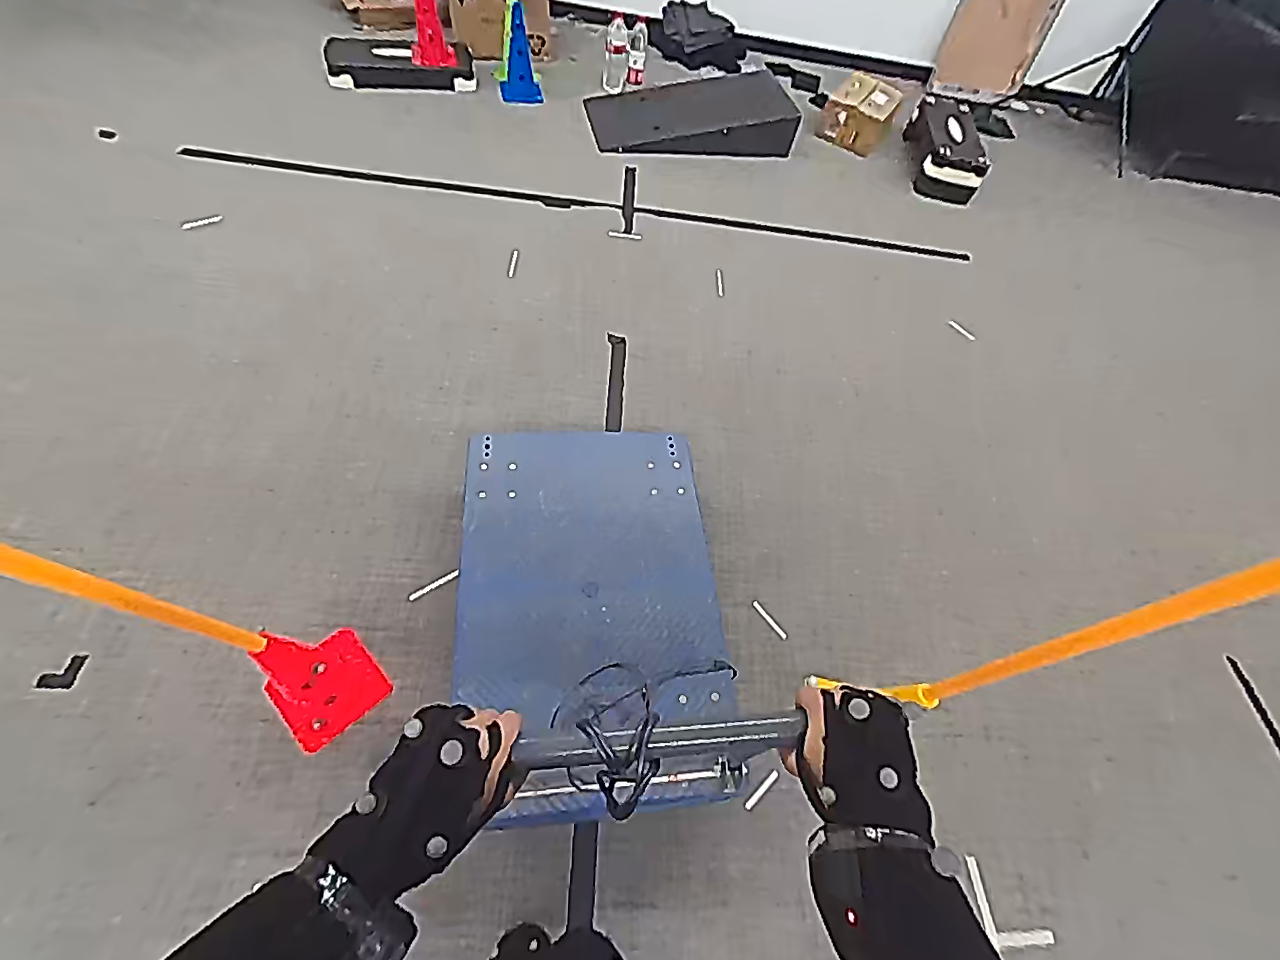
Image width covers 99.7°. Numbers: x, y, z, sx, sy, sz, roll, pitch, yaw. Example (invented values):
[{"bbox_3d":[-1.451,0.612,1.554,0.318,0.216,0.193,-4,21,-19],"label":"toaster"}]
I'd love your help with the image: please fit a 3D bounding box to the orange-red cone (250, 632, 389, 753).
[{"bbox_3d":[-0.652,0.364,1.038,0.199,0.360,0.198,-36,71,-29],"label":"orange-red cone"}]
